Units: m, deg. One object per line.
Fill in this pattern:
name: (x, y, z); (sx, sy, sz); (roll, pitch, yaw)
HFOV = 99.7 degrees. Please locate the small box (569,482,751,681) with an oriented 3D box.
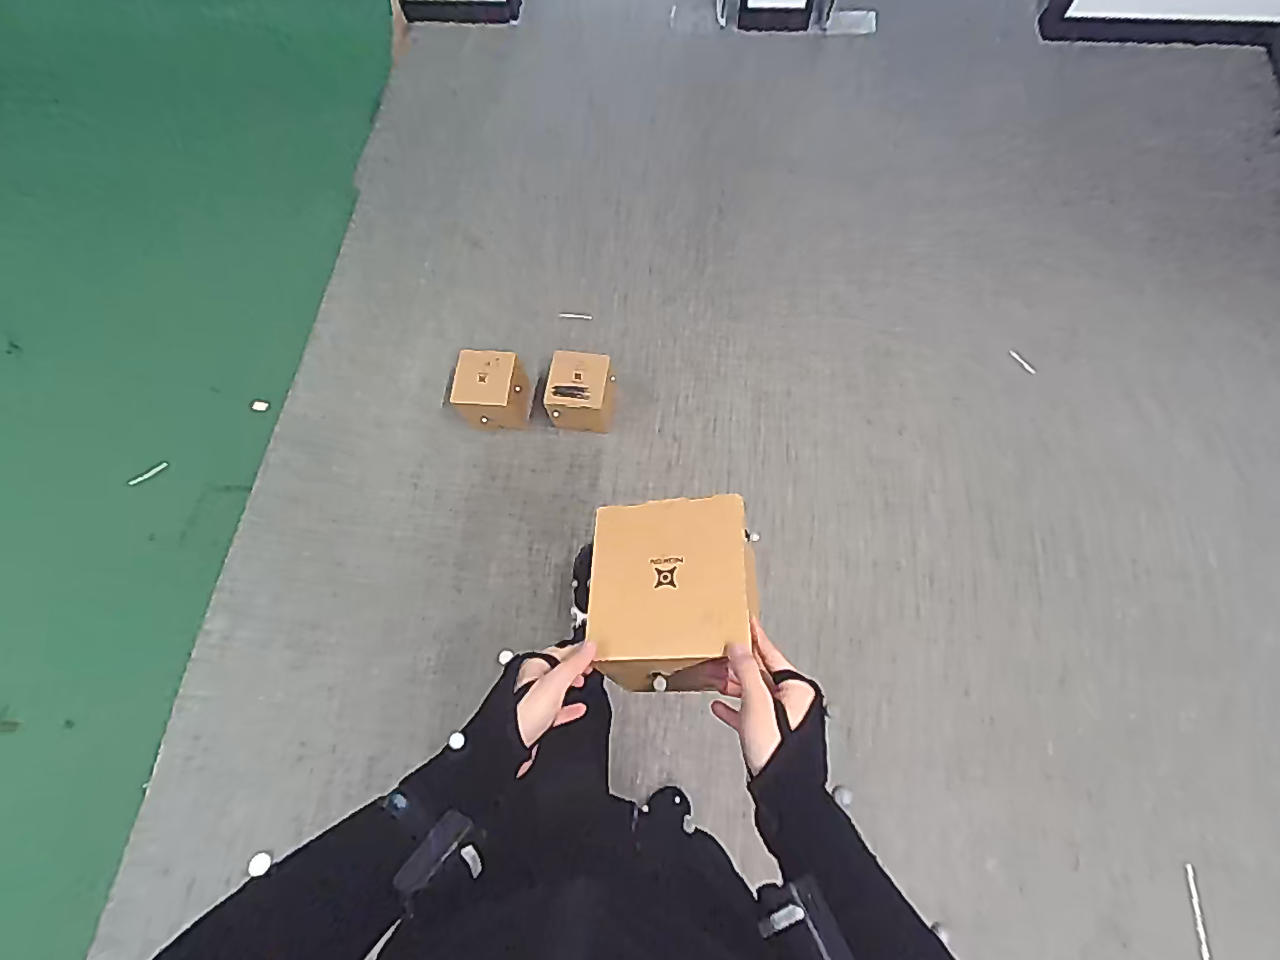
small box: (0.034, 0.122, 0.609); (0.168, 0.176, 0.179); (-4, 58, 13)

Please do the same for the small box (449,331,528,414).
small box: (-0.436, -0.310, 1.589); (0.168, 0.176, 0.179); (6, 72, 3)
